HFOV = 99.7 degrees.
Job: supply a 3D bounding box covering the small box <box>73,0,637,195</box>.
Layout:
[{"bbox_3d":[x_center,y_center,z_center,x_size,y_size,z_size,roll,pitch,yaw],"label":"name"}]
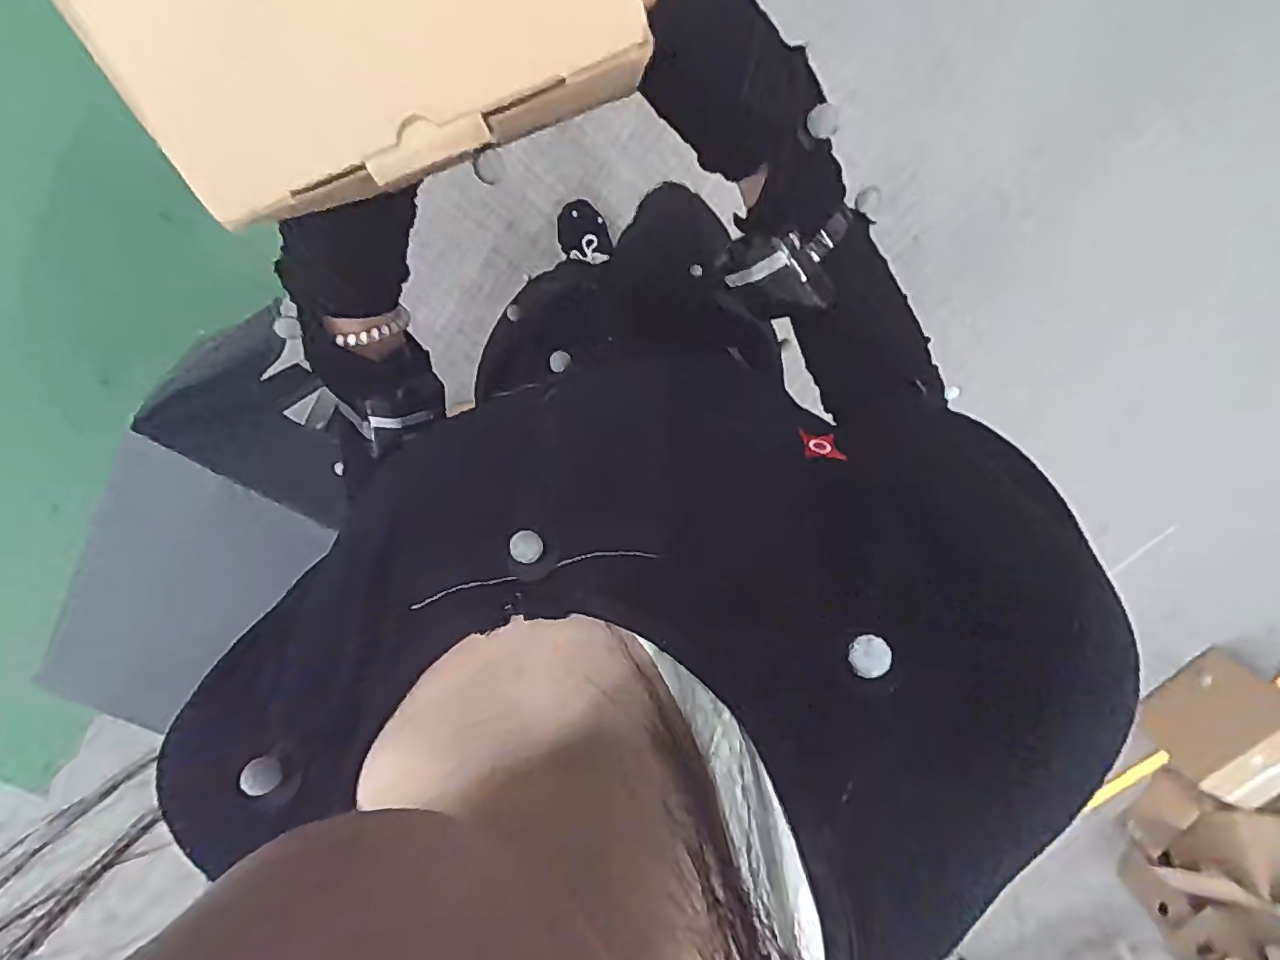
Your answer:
[{"bbox_3d":[-0.103,-0.234,0.202,0.168,0.176,0.179,-16,122,7],"label":"small box"}]
